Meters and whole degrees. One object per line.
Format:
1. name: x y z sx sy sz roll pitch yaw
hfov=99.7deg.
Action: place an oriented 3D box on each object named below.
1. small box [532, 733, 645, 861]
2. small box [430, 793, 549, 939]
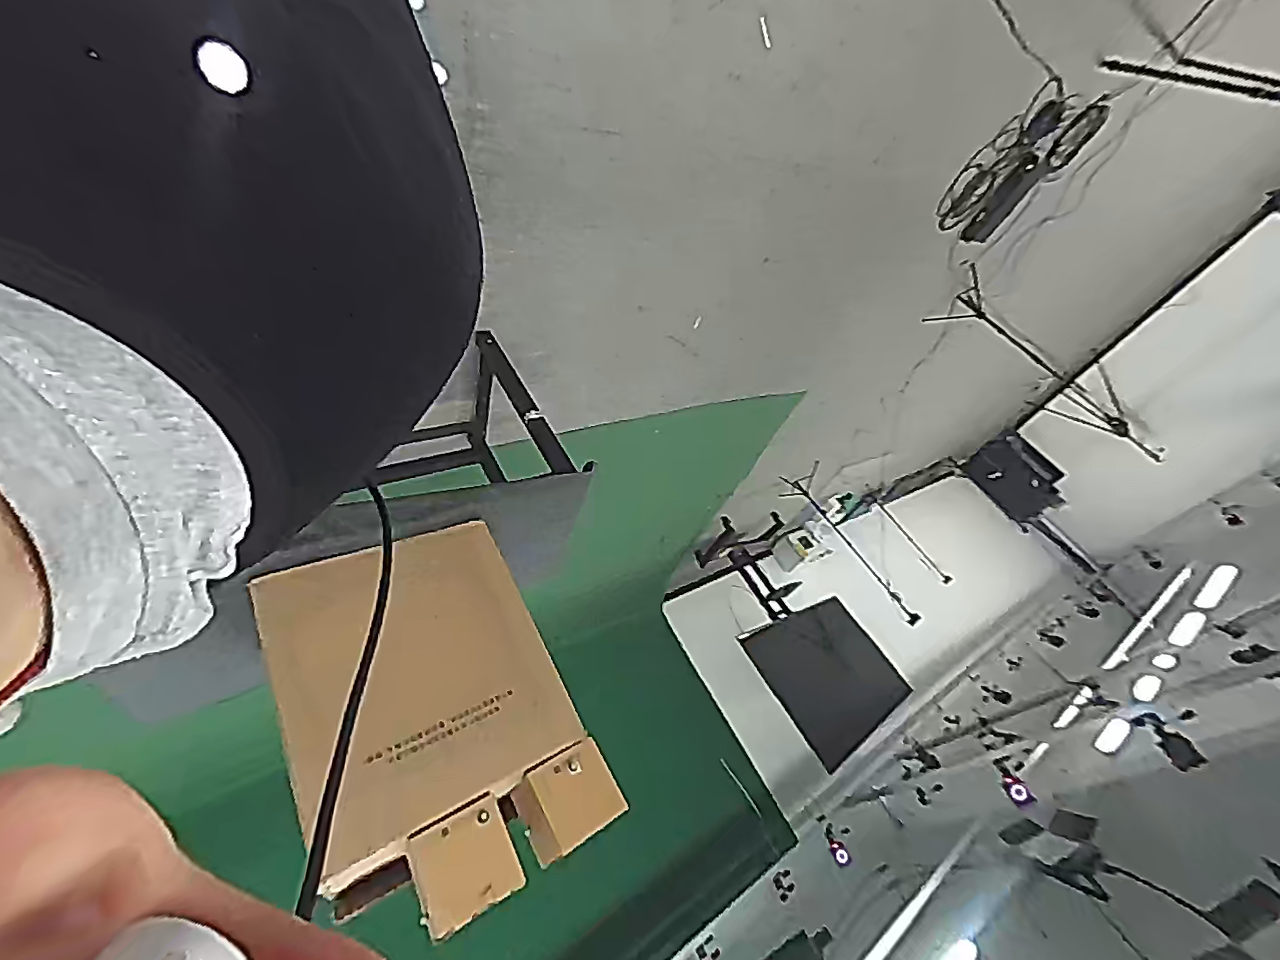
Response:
1. small box: -0.122 0.696 1.199 0.168 0.176 0.179 -18 148 -37
2. small box: -0.303 0.753 1.066 0.168 0.176 0.179 -16 149 -34
